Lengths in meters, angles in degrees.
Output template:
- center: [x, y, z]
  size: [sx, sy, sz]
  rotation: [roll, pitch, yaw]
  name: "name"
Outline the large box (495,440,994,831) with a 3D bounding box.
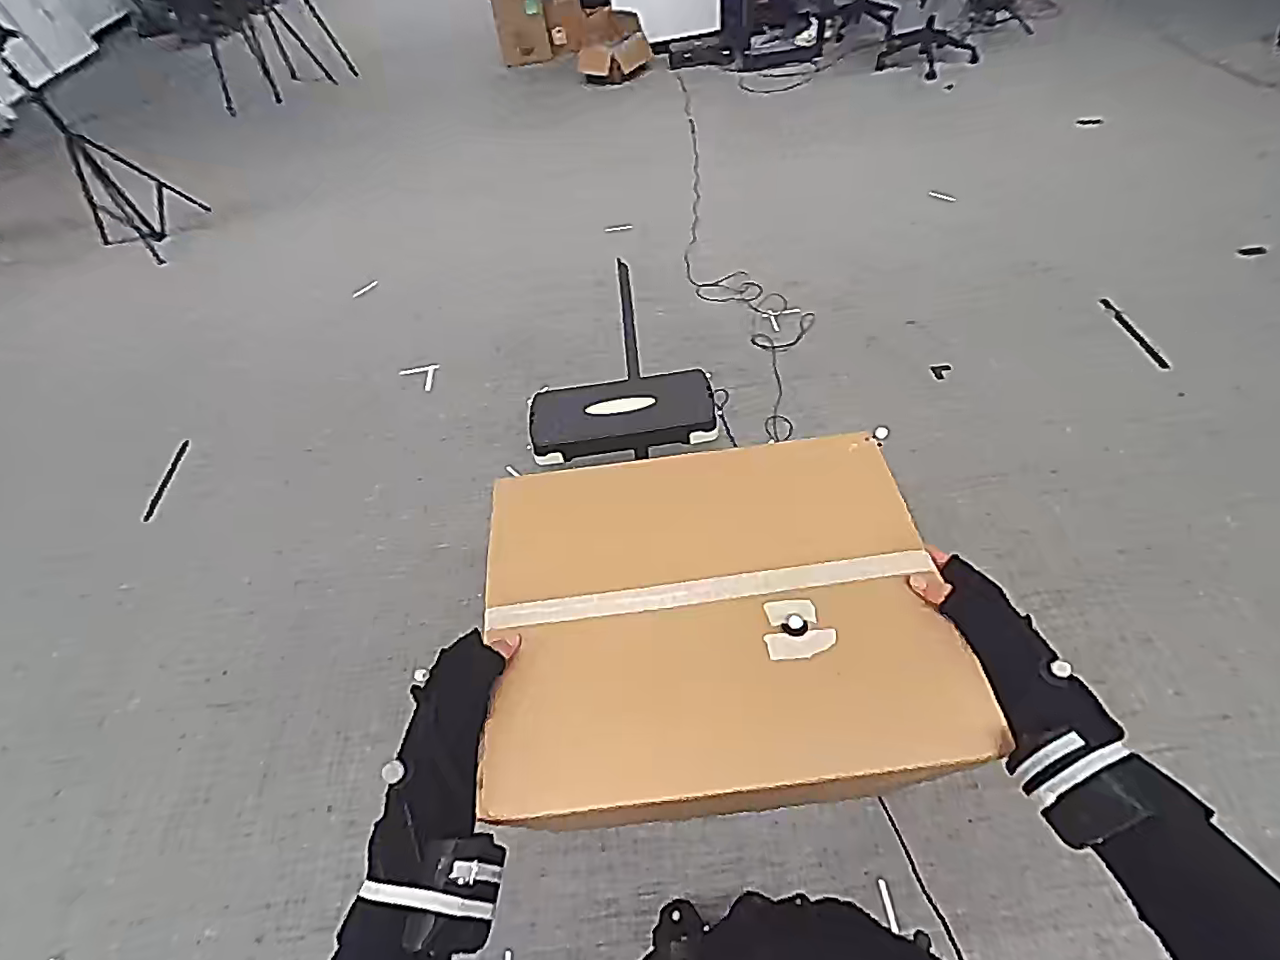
- center: [0.075, 0.192, 0.625]
  size: [0.408, 0.320, 0.320]
  rotation: [-7, 55, 0]
  name: "large box"
